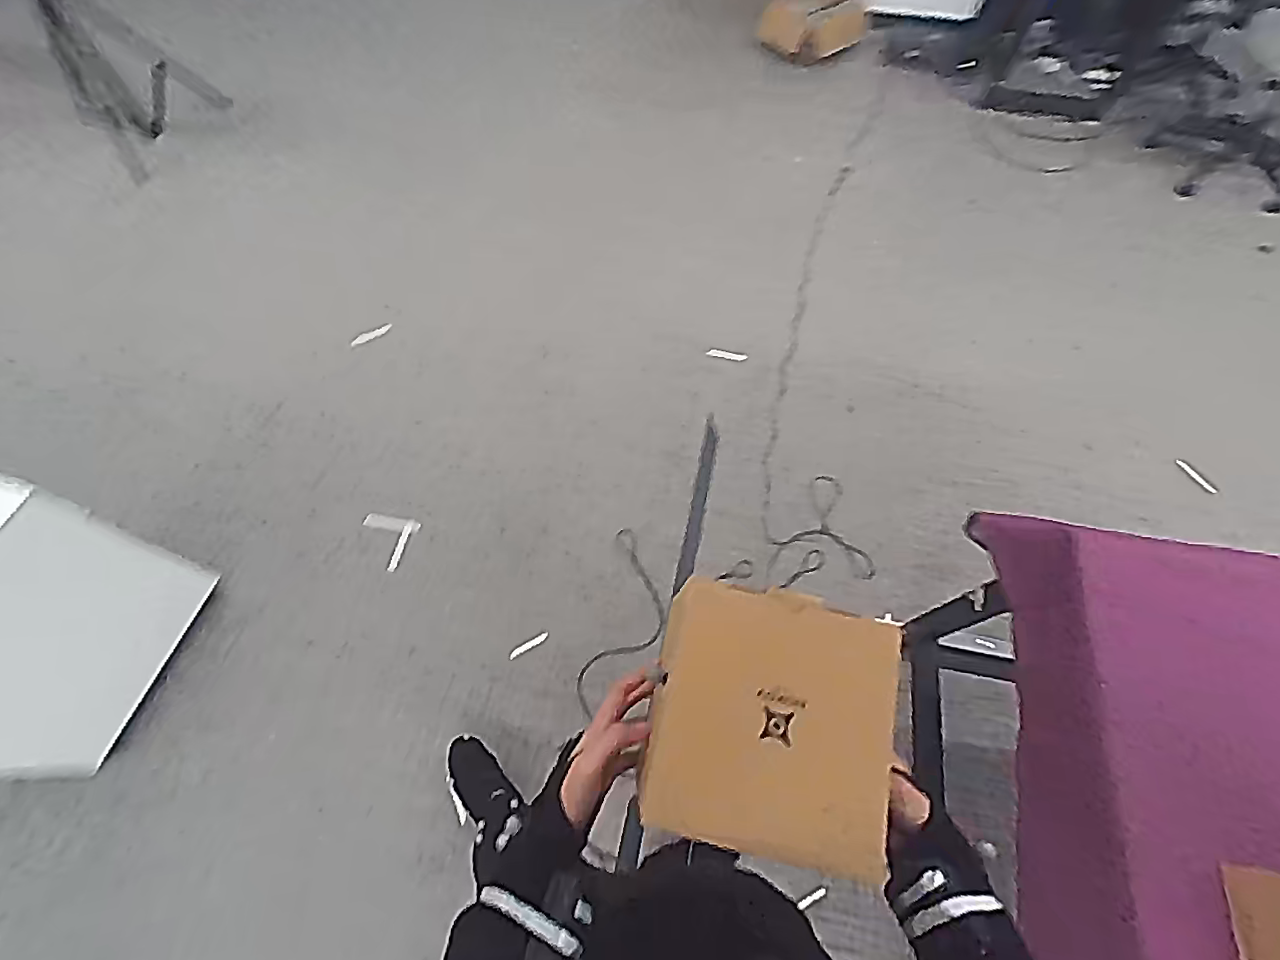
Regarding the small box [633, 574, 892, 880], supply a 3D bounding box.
[{"bbox_3d":[0.094,0.196,0.466,0.168,0.176,0.179,12,70,3],"label":"small box"}]
